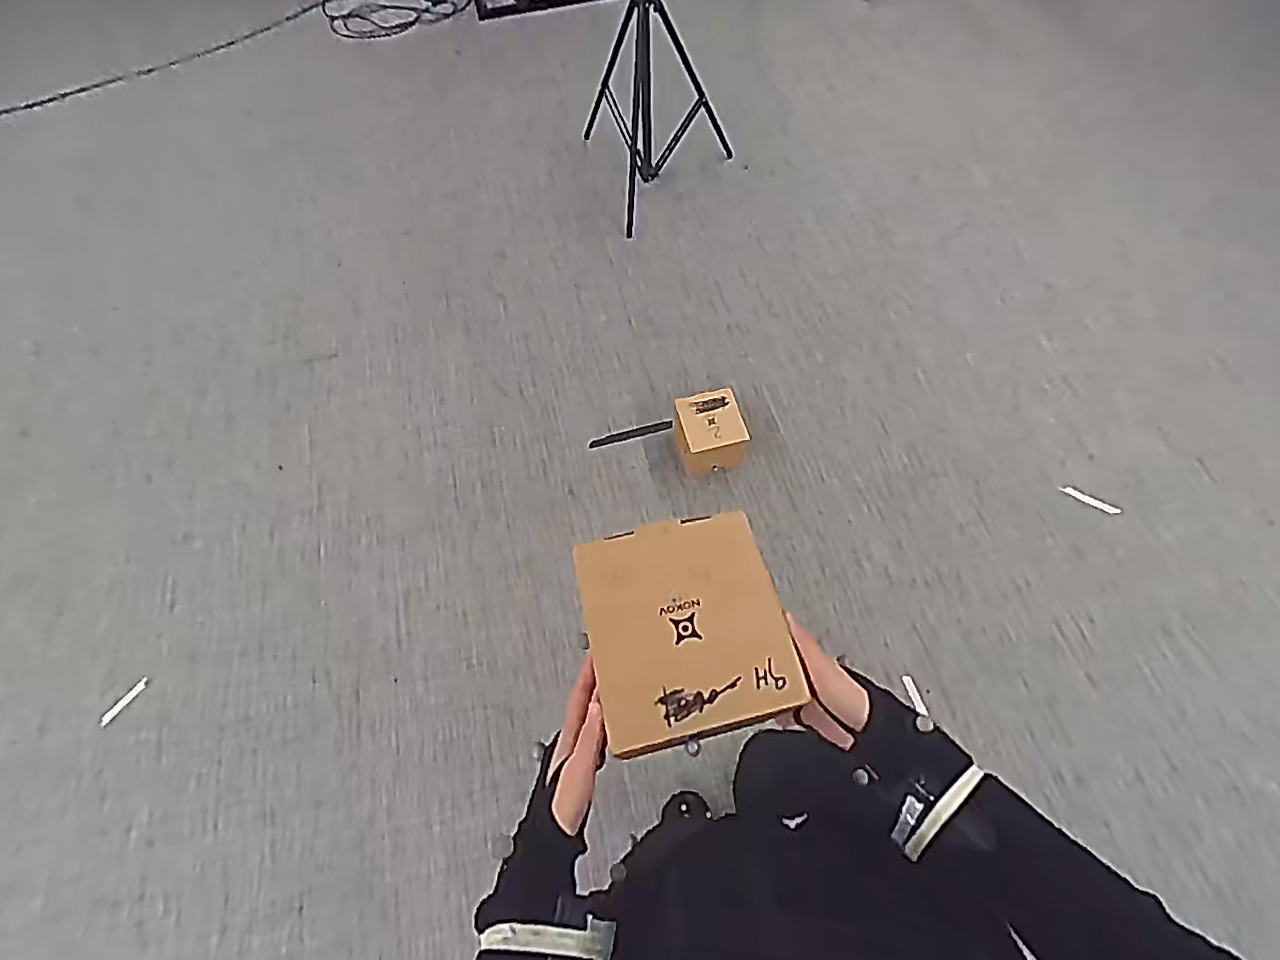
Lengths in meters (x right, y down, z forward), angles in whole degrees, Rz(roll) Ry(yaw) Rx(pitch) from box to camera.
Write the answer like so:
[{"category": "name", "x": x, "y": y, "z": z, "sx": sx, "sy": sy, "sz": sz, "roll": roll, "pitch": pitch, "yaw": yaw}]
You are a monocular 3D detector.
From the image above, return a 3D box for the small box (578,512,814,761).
[{"category": "small box", "x": 0.039, "y": 0.157, "z": 0.524, "sx": 0.168, "sy": 0.176, "sz": 0.179, "roll": -12, "pitch": 62, "yaw": -7}]
